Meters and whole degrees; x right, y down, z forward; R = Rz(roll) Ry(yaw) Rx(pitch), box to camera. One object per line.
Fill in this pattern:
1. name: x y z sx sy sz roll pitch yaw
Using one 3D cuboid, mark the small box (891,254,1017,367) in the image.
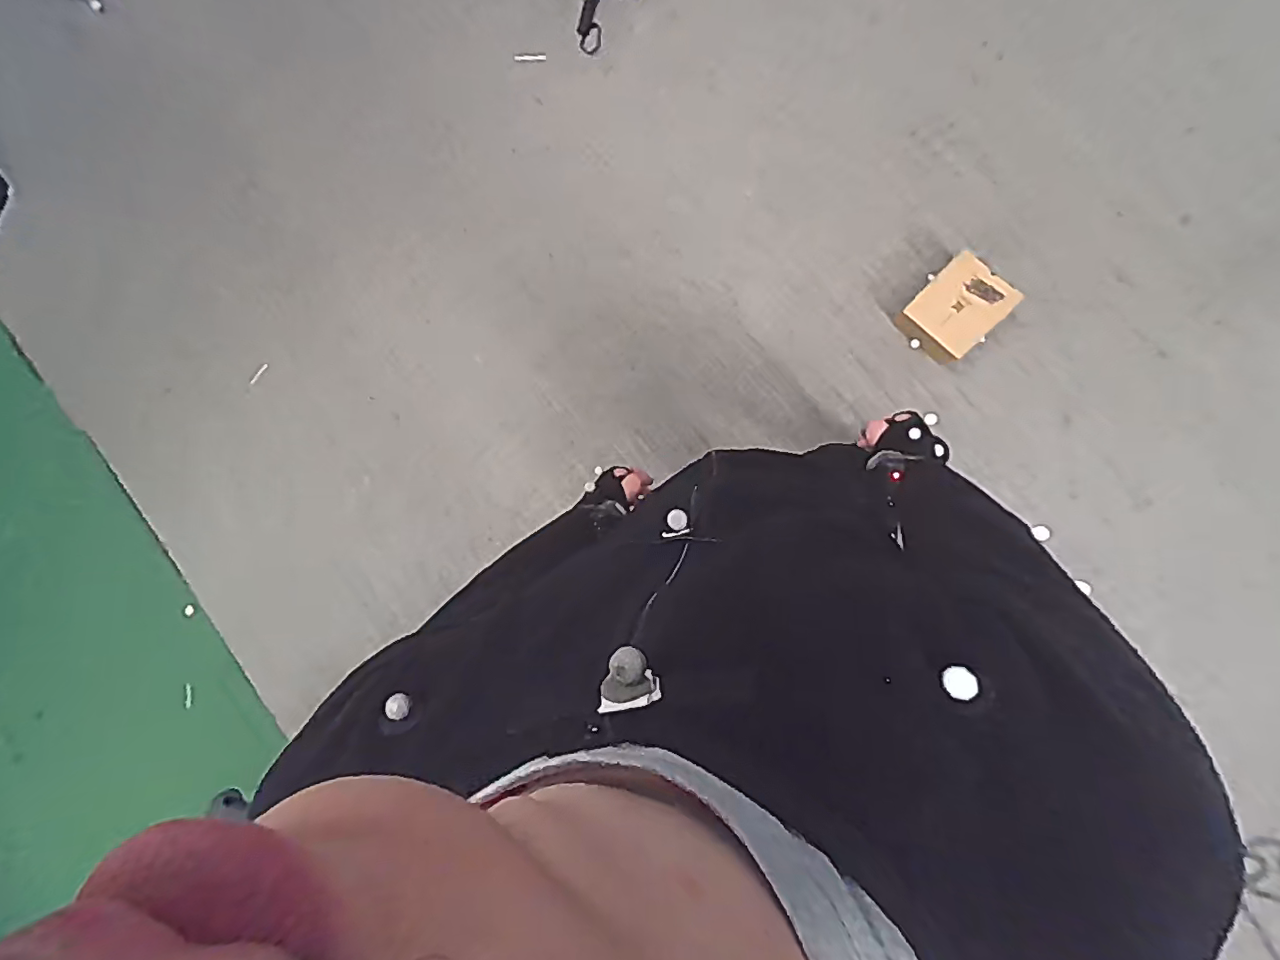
1. small box: 0.720 -0.386 1.267 0.168 0.176 0.179 45 106 8
